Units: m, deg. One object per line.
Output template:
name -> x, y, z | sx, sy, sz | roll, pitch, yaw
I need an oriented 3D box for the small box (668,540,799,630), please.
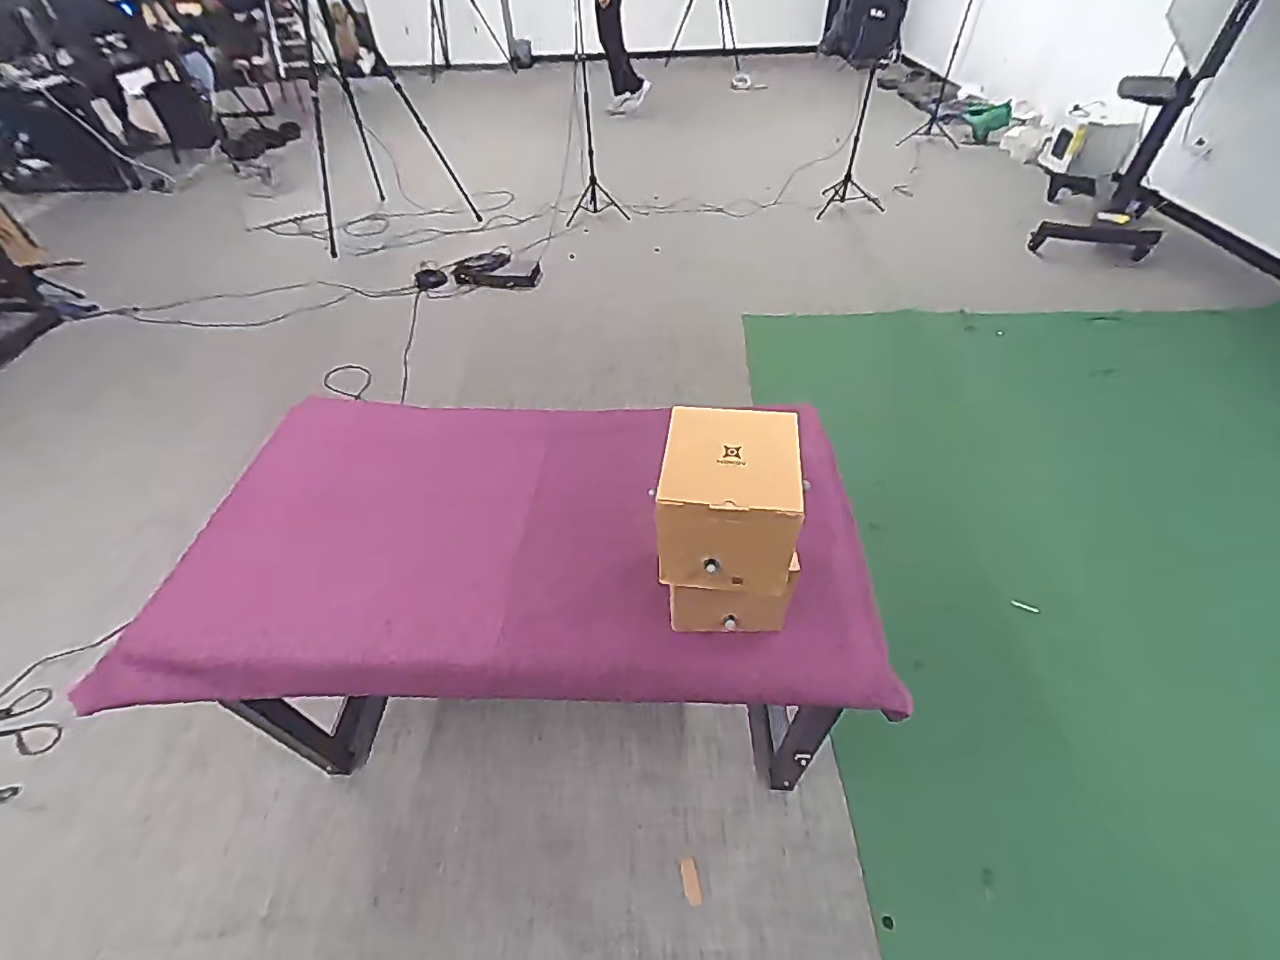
small box -> 0.133, 0.121, 0.845 | 0.179, 0.176, 0.168 | -1, 44, 2

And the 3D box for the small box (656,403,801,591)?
small box -> 0.113, 0.021, 0.716 | 0.168, 0.176, 0.179 | 4, 47, 8
